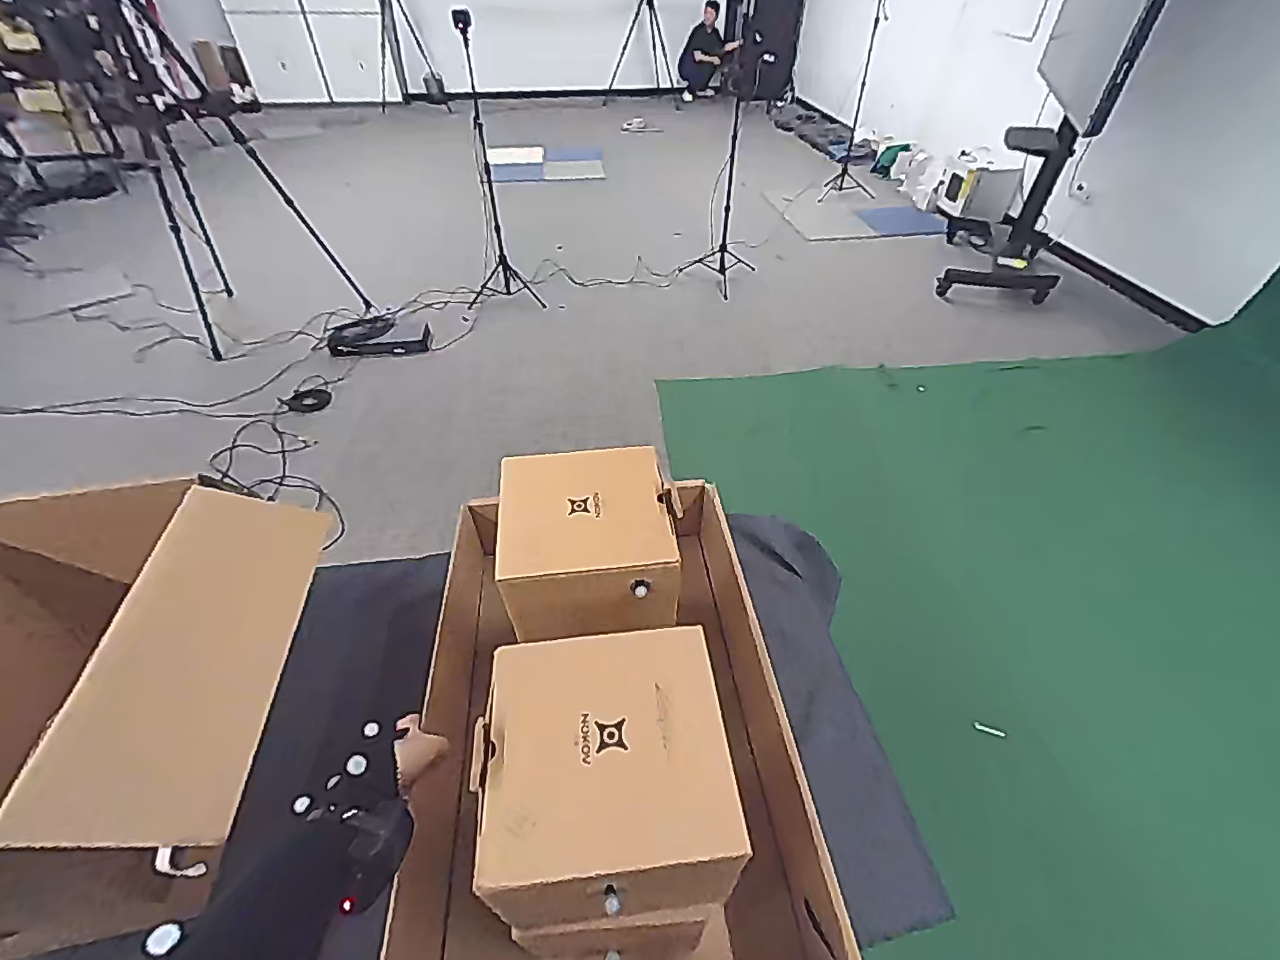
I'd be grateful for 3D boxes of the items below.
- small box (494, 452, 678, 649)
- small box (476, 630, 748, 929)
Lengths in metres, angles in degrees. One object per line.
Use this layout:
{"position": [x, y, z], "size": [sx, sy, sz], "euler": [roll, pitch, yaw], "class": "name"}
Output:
{"position": [-0.058, 0.089, 0.616], "size": [0.179, 0.176, 0.168], "euler": [-5, 46, -6], "class": "small box"}
{"position": [-0.023, 0.248, 0.449], "size": [0.179, 0.176, 0.168], "euler": [-5, 44, -5], "class": "small box"}
